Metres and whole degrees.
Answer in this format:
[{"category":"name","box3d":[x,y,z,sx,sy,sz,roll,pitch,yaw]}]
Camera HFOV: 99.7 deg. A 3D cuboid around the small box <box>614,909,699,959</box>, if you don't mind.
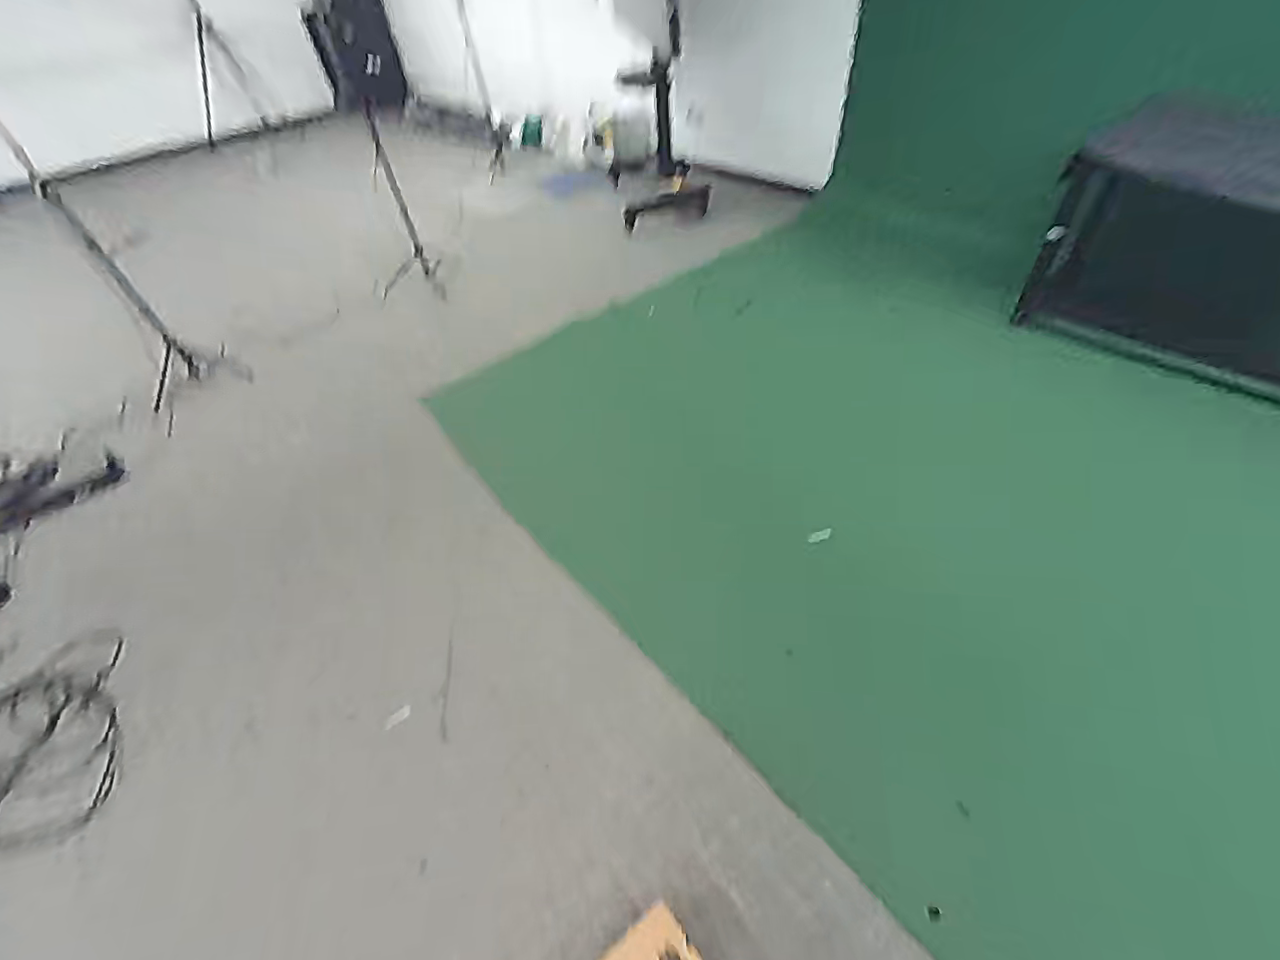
[{"category":"small box","box3d":[0.034,0.929,0.976,0.179,0.176,0.168,-33,51,-22]}]
